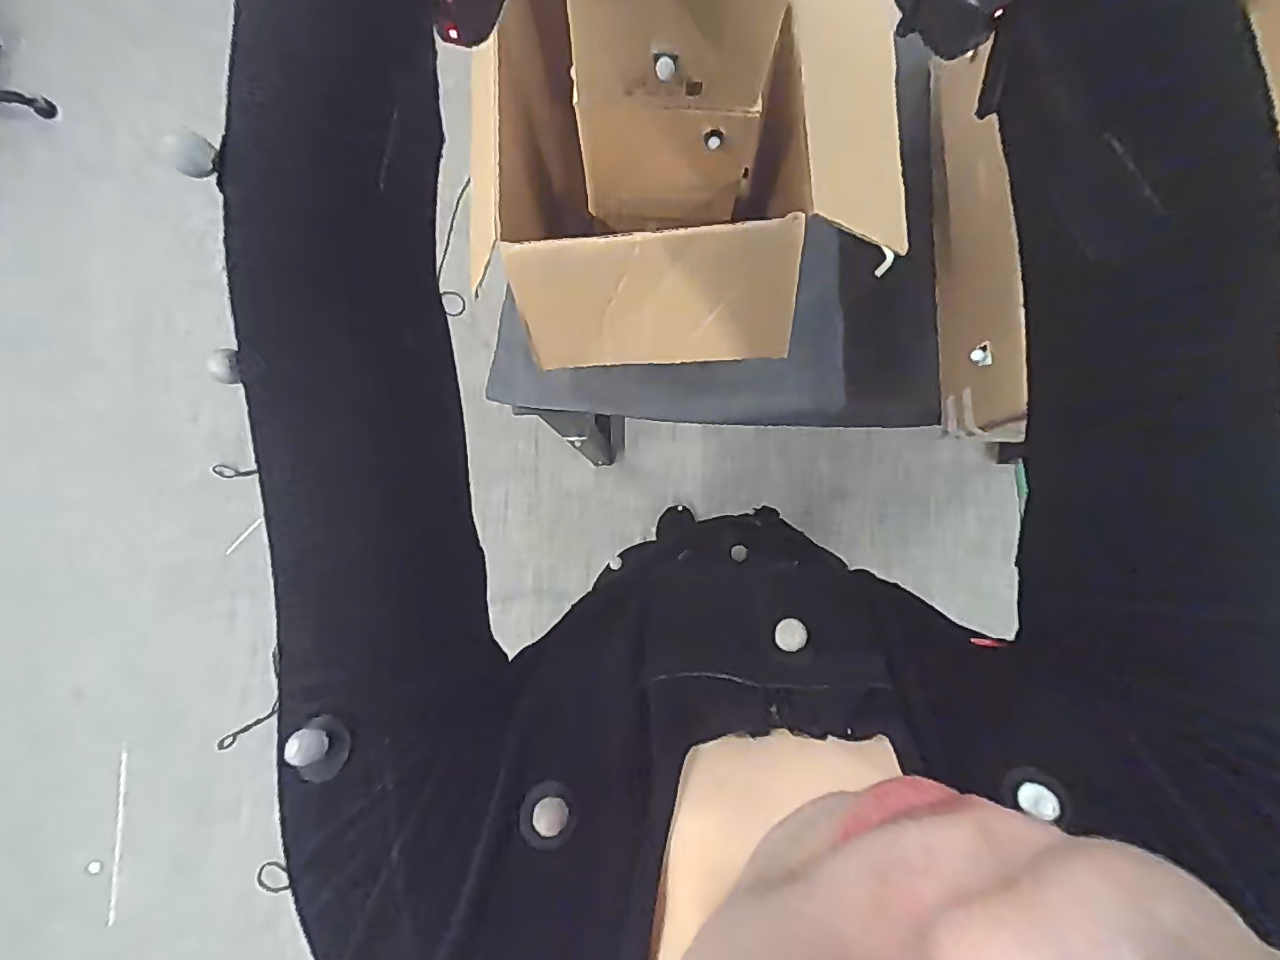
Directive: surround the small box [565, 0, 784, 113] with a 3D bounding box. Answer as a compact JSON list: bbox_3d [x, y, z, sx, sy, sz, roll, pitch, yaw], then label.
[{"bbox_3d":[0.024,-0.433,0.424,0.168,0.176,0.179,-1,83,-1],"label":"small box"}]
